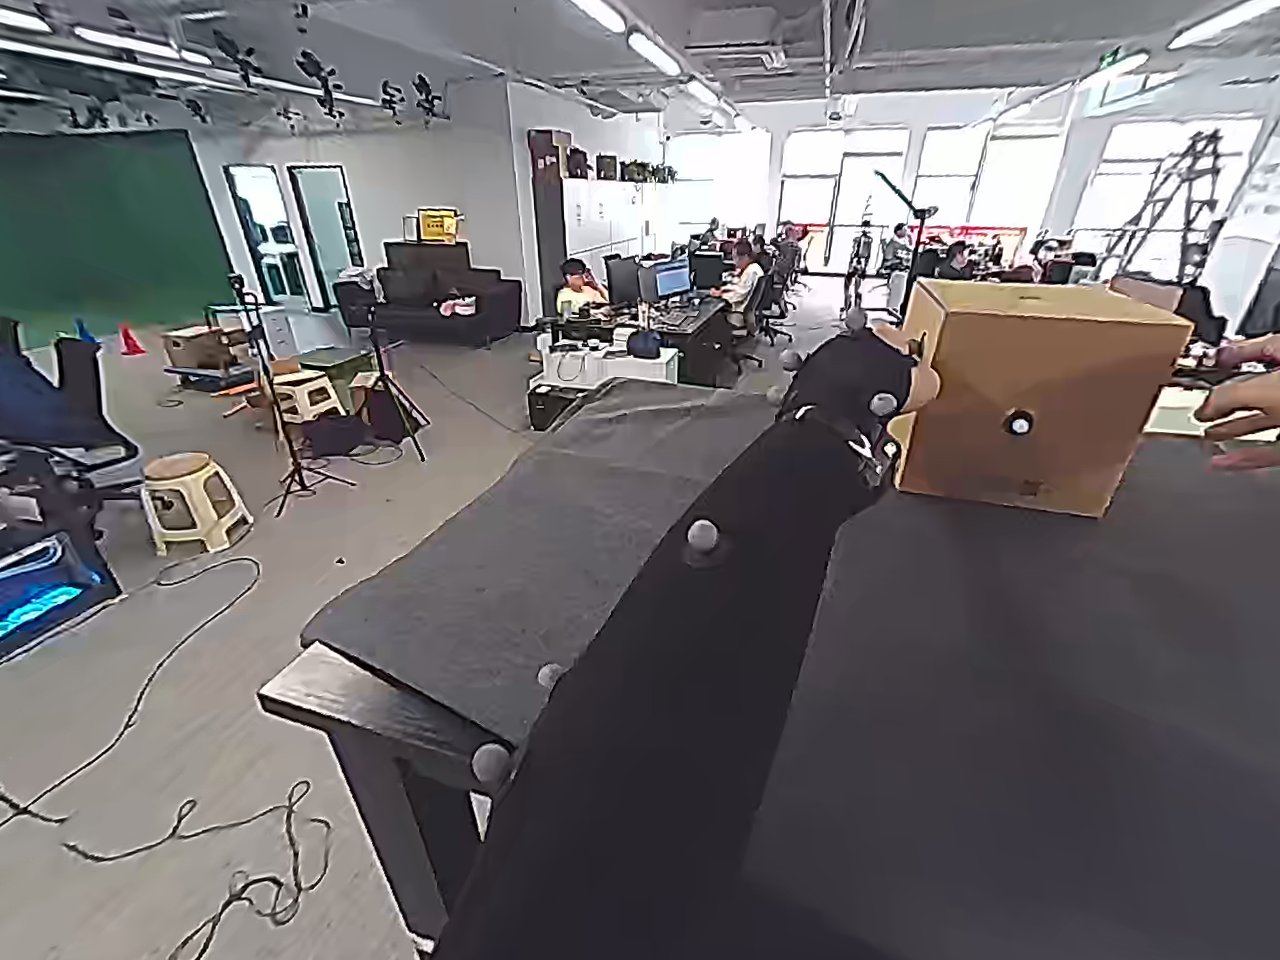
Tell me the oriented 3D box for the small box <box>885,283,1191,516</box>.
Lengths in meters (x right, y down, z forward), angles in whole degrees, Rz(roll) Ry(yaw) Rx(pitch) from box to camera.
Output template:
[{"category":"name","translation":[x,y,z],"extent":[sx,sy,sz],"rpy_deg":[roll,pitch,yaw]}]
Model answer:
[{"category":"small box","translation":[0.343,-0.084,0.514],"extent":[0.168,0.176,0.179],"rpy_deg":[9,29,14]}]
